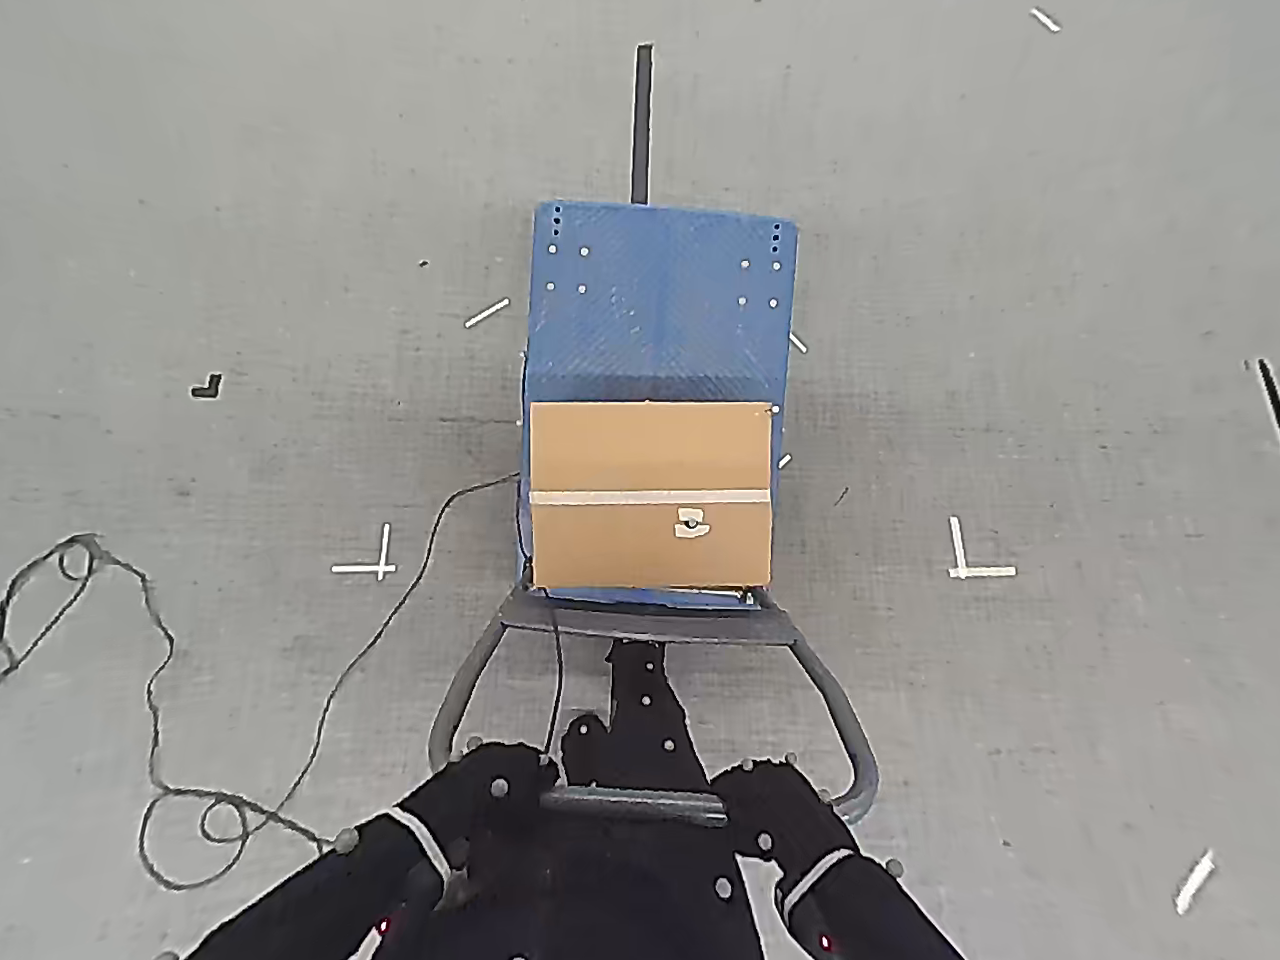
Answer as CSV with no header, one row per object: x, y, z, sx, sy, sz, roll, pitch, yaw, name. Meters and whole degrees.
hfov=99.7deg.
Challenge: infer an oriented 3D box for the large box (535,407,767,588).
0.015,0.022,1.080,0.408,0.320,0.320,0,94,-2,large box
